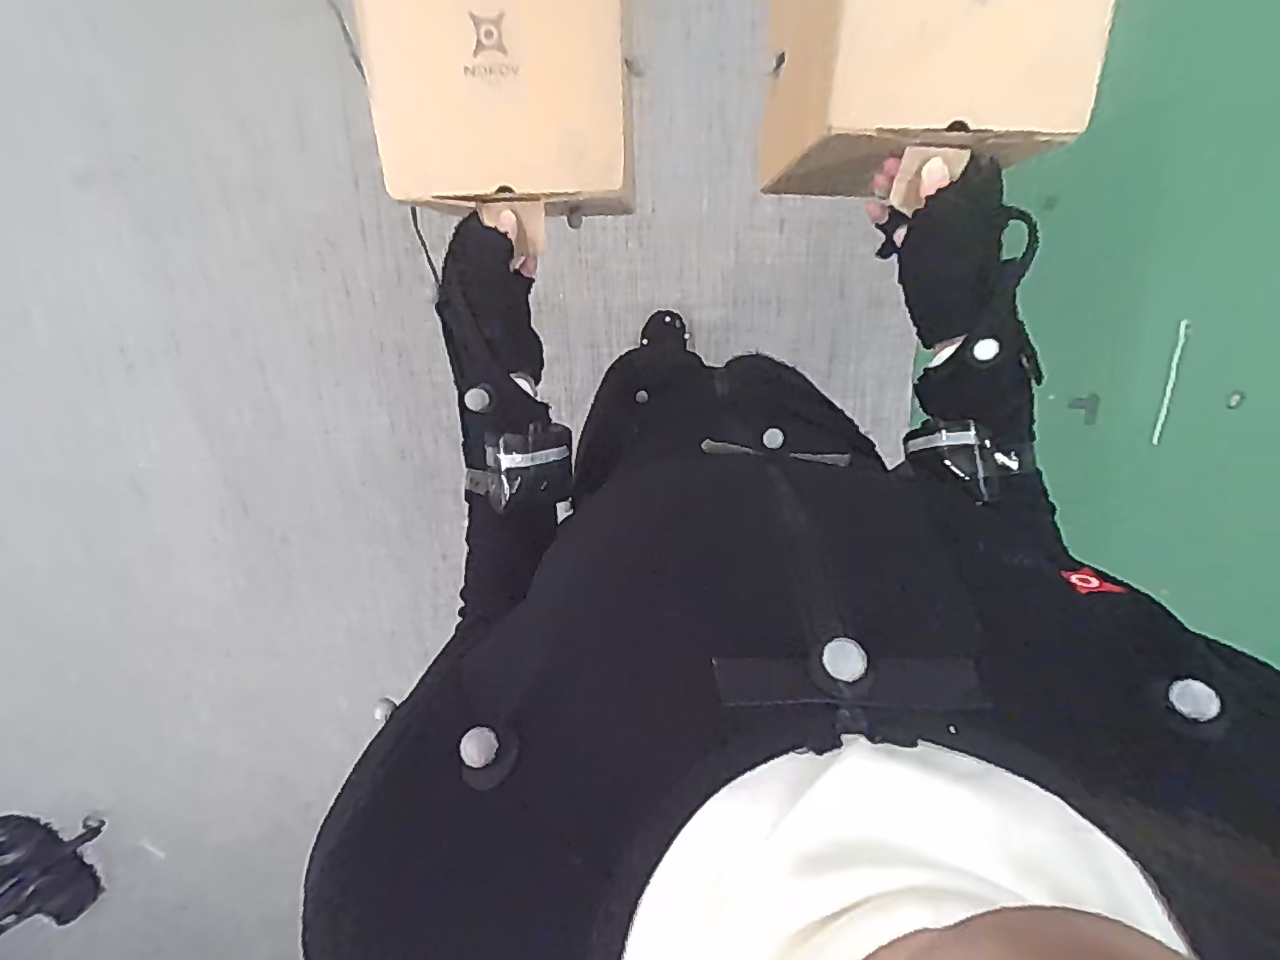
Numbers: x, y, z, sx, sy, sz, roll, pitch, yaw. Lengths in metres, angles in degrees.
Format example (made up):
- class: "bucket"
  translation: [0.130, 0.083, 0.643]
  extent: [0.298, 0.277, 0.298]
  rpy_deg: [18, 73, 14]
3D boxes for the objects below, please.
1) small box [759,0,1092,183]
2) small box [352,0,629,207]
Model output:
- class: "small box"
  translation: [0.190, -0.330, 0.397]
  extent: [0.168, 0.176, 0.179]
  rpy_deg: [0, 107, -2]
- class: "small box"
  translation: [-0.096, -0.313, 0.417]
  extent: [0.168, 0.176, 0.179]
  rpy_deg: [-1, 112, 1]
